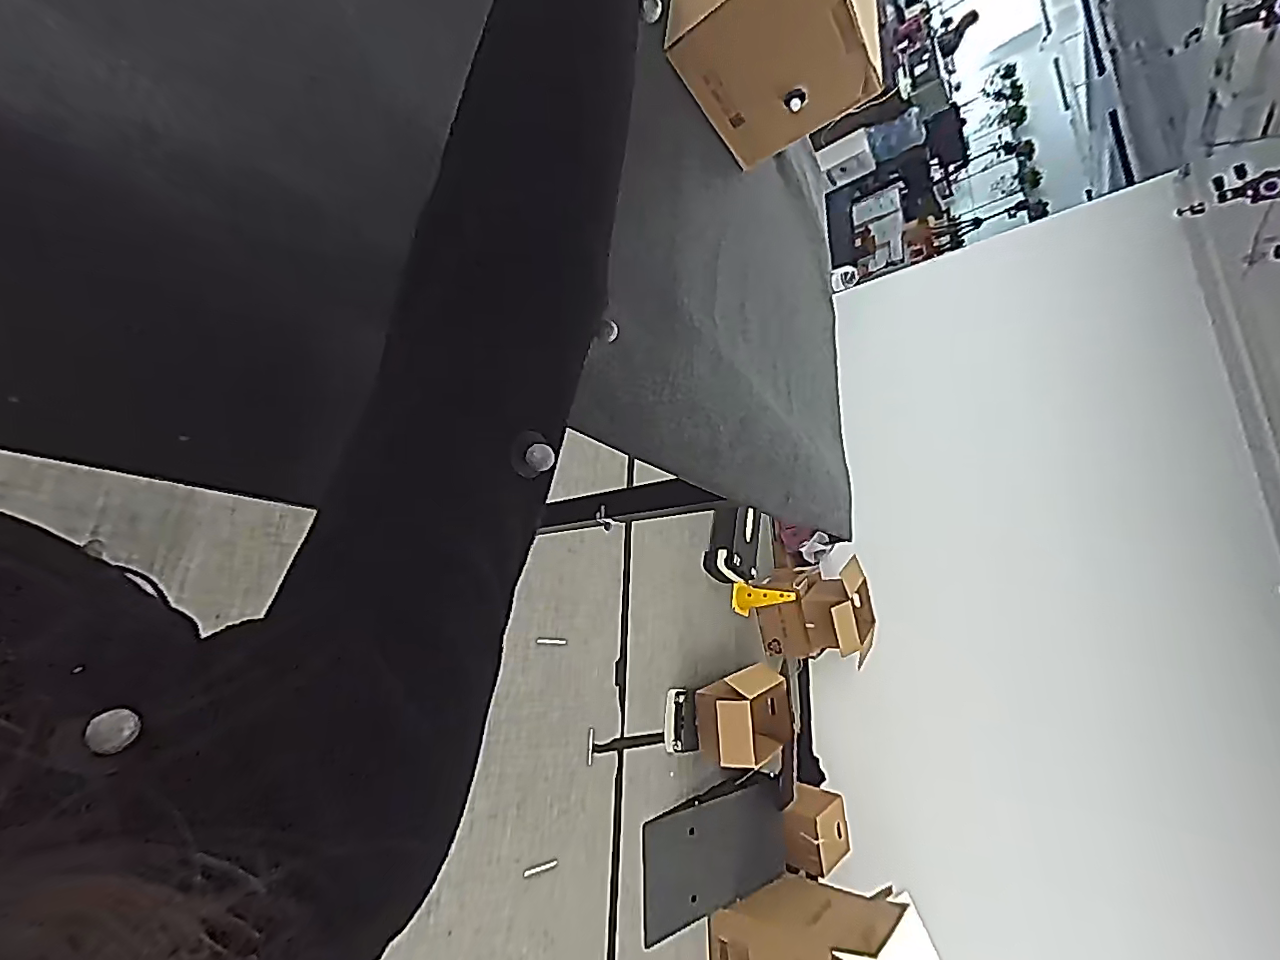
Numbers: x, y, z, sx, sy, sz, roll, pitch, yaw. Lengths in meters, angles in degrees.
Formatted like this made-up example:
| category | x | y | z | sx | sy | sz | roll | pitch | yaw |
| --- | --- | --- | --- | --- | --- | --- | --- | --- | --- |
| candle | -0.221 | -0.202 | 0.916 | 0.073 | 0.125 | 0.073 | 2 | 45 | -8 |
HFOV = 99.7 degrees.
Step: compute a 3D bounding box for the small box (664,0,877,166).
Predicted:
| category | x | y | z | sx | sy | sz | roll | pitch | yaw |
| --- | --- | --- | --- | --- | --- | --- | --- | --- | --- |
| small box | 0.141 | -0.491 | 0.585 | 0.168 | 0.176 | 0.179 | 28 | 60 | -46 |
